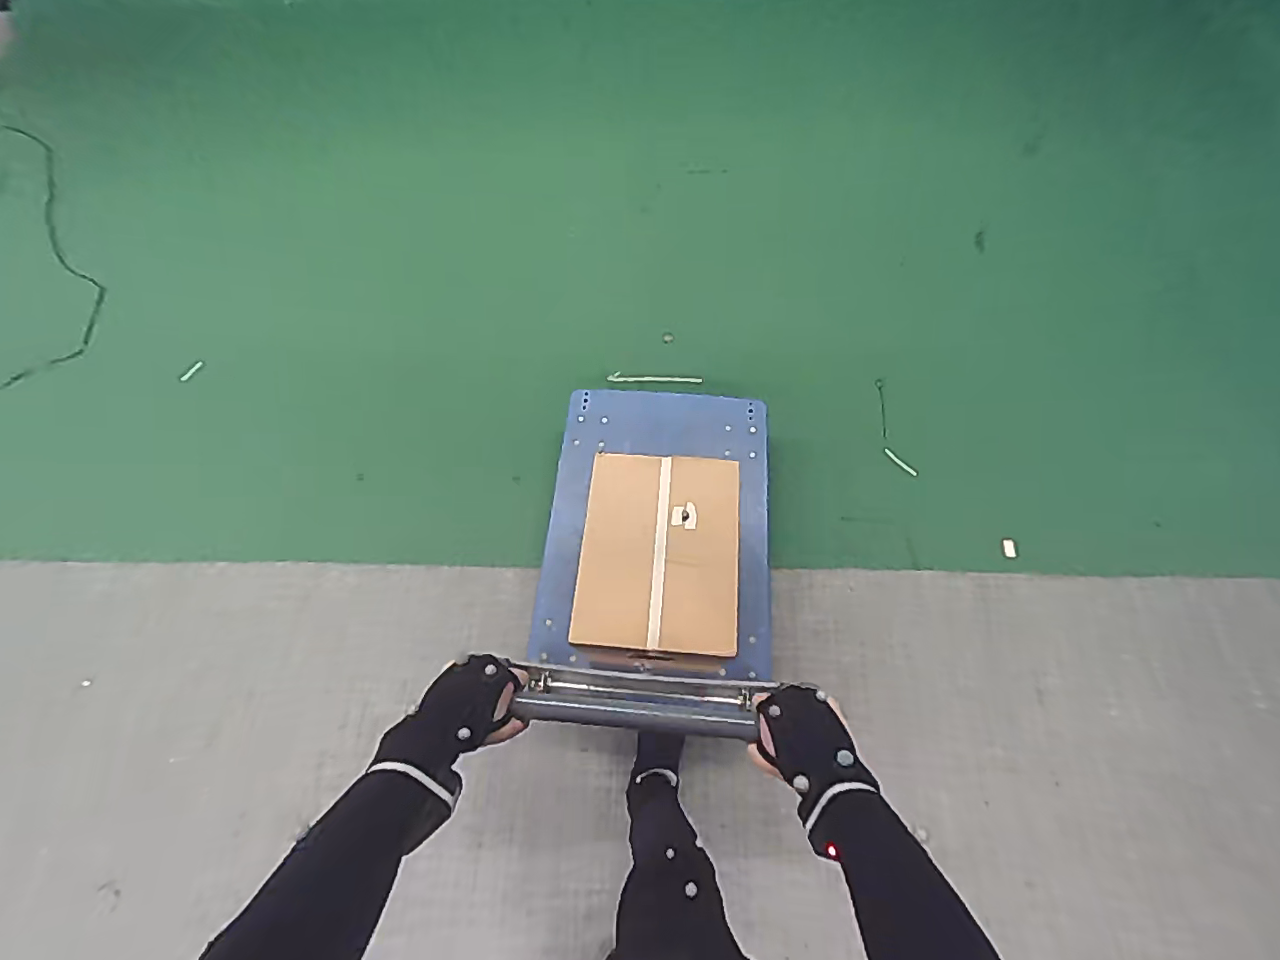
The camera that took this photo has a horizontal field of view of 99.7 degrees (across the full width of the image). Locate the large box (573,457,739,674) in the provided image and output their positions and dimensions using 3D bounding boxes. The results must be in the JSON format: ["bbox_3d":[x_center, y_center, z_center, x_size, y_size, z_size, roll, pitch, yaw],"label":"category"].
[{"bbox_3d":[0.047,0.202,1.216,0.320,0.320,0.408,4,64,3],"label":"large box"}]
